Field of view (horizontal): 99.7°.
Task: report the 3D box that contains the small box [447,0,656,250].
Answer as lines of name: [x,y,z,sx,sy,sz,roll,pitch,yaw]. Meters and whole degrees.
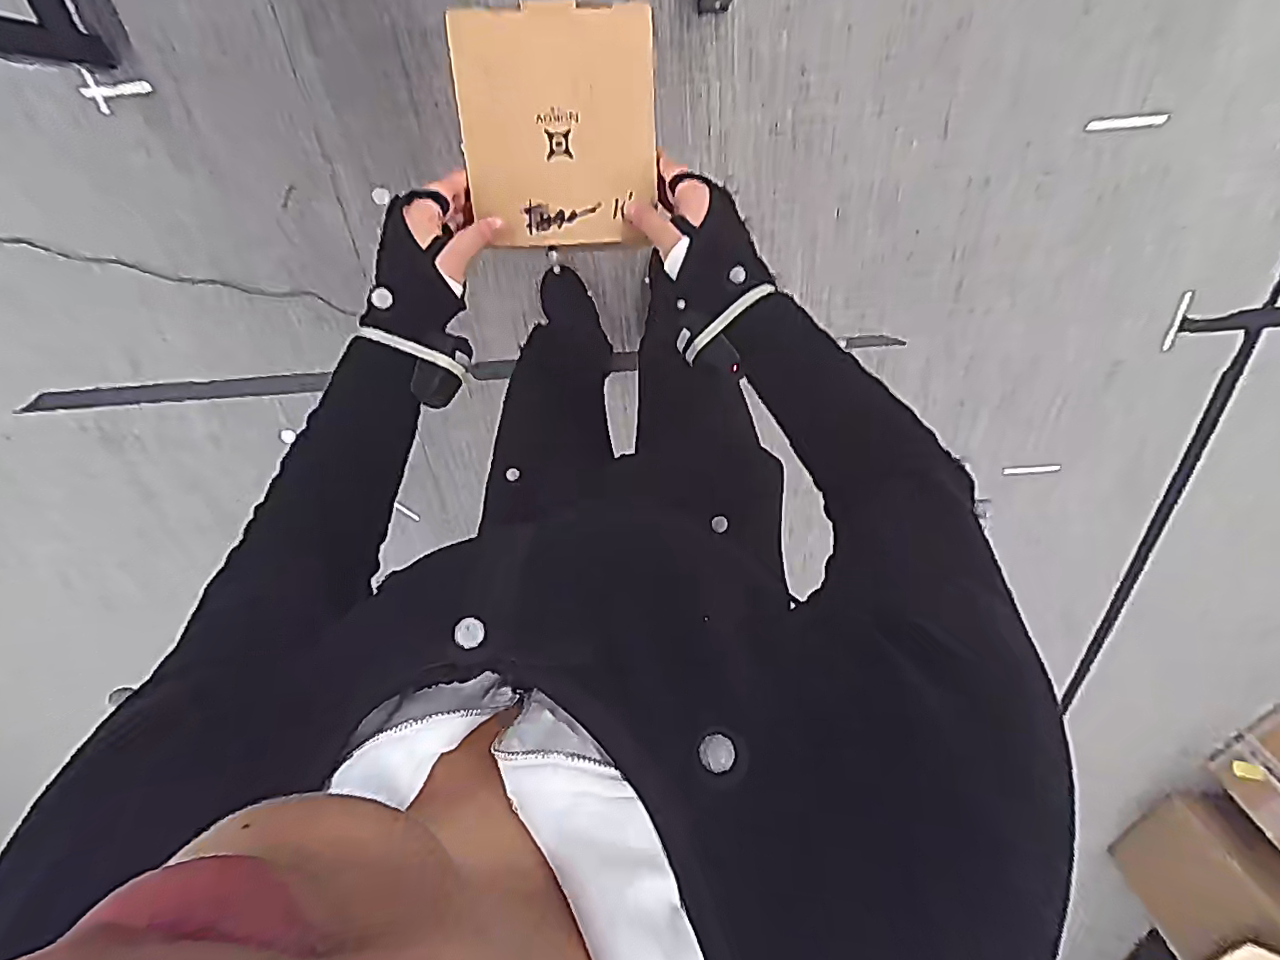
small box: [-0.073,-0.331,0.534,0.168,0.176,0.179,-3,110,0]
